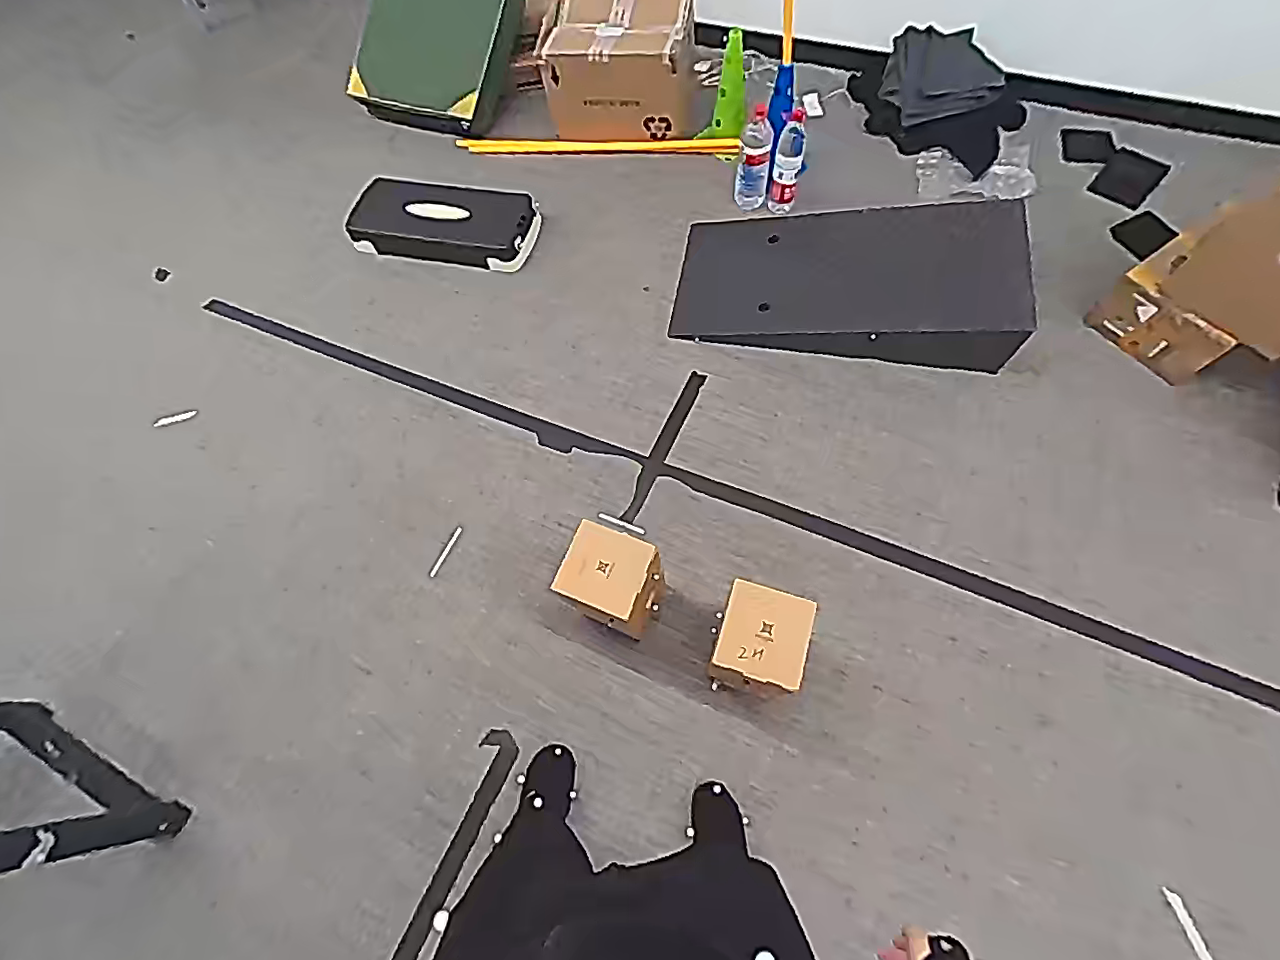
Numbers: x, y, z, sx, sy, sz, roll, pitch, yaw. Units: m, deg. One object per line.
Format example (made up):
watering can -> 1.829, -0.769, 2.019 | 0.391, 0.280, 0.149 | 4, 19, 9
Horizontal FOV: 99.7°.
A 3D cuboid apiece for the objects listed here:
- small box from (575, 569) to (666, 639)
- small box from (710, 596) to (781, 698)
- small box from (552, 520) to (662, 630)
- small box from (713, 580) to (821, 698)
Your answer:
small box -> -0.045, 0.275, 1.319 | 0.179, 0.176, 0.168 | 22, 70, 13
small box -> 0.261, 0.390, 1.244 | 0.168, 0.176, 0.179 | 15, 68, 11
small box -> -0.060, 0.212, 1.169 | 0.179, 0.176, 0.168 | 20, 70, 14
small box -> 0.249, 0.325, 1.093 | 0.168, 0.176, 0.179 | 16, 69, 12
